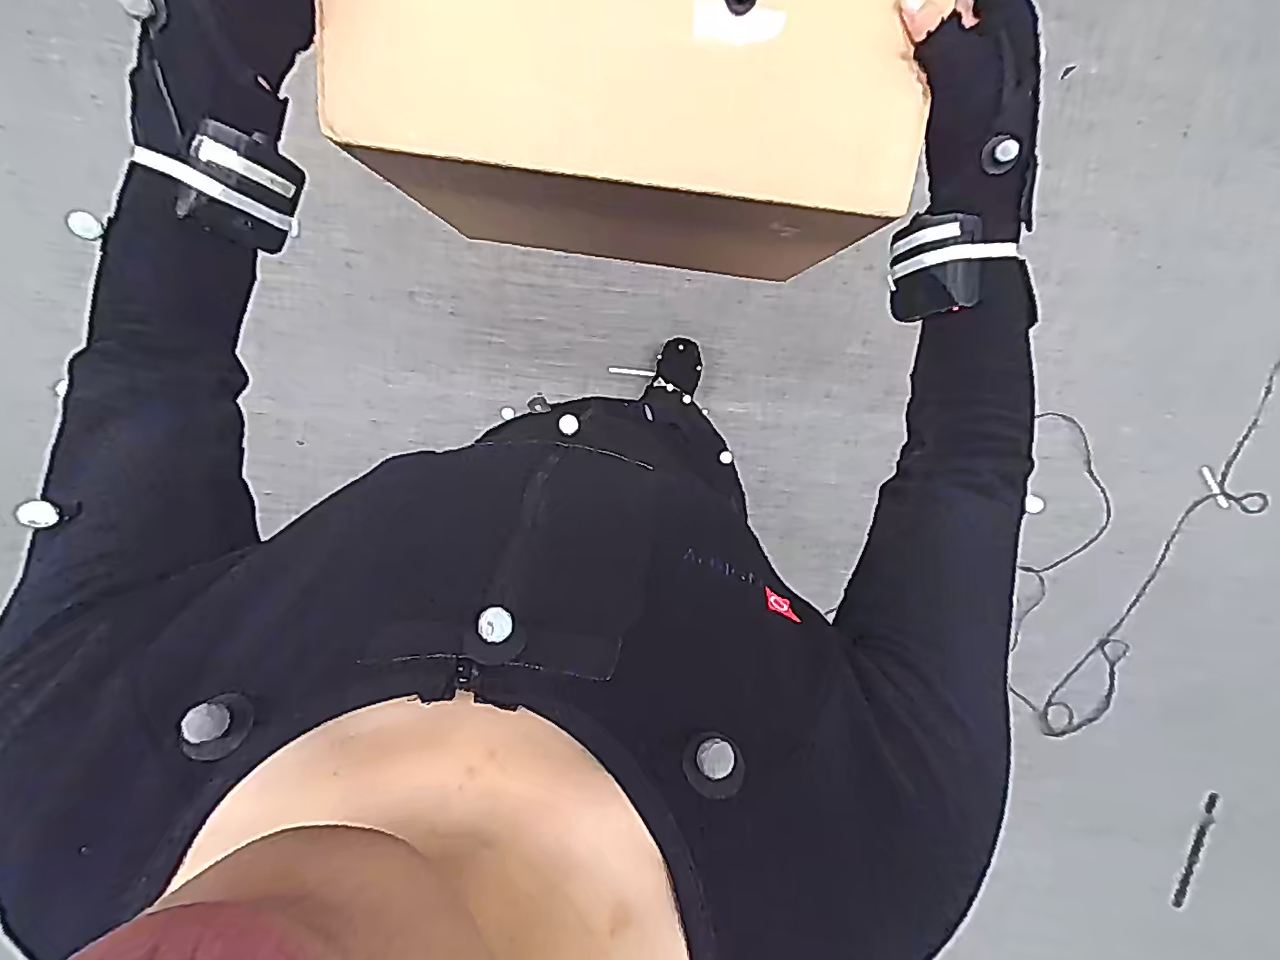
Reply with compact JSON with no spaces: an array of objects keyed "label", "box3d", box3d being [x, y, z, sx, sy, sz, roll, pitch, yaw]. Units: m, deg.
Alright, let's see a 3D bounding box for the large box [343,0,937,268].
[{"label":"large box","box3d":[0.004,-0.401,0.497,0.408,0.320,0.320,7,103,-2]}]
